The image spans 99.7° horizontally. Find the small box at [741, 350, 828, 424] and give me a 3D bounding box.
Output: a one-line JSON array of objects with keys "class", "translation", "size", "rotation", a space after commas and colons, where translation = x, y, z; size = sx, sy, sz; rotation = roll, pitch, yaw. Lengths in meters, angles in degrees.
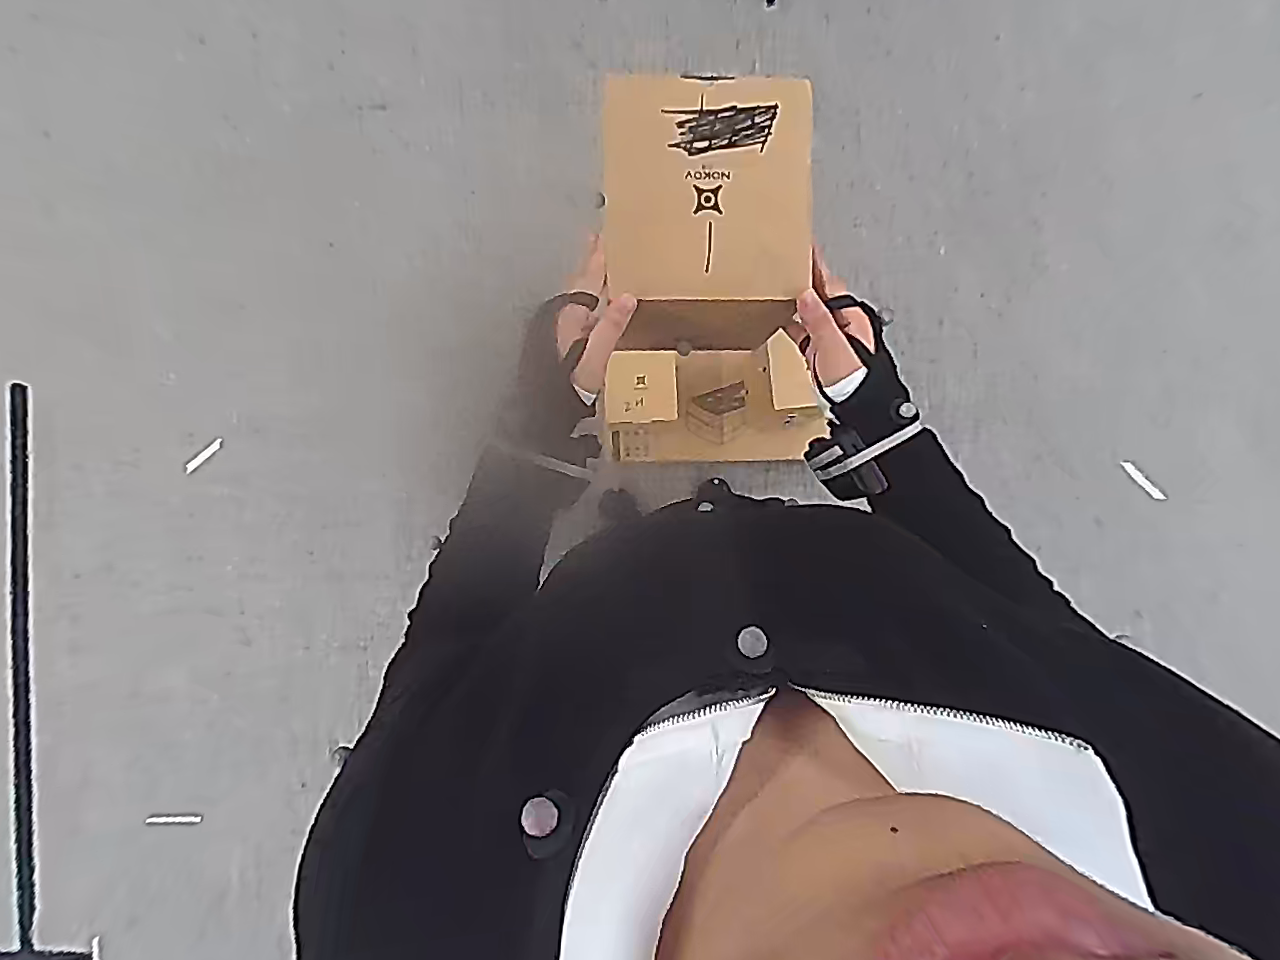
[{"class": "small box", "translation": [0.347, -0.230, 1.321], "size": [0.168, 0.176, 0.179], "rotation": [-4, 90, -1]}]

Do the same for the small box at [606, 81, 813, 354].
[{"class": "small box", "translation": [0.051, -0.226, 0.507], "size": [0.168, 0.176, 0.179], "rotation": [-1, 90, -3]}]

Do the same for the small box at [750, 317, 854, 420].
[{"class": "small box", "translation": [0.337, -0.232, 1.159], "size": [0.168, 0.176, 0.179], "rotation": [-6, 90, 1]}]

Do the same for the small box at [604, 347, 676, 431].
[{"class": "small box", "translation": [-0.002, -0.218, 1.318], "size": [0.168, 0.176, 0.179], "rotation": [-2, 89, 0]}]
